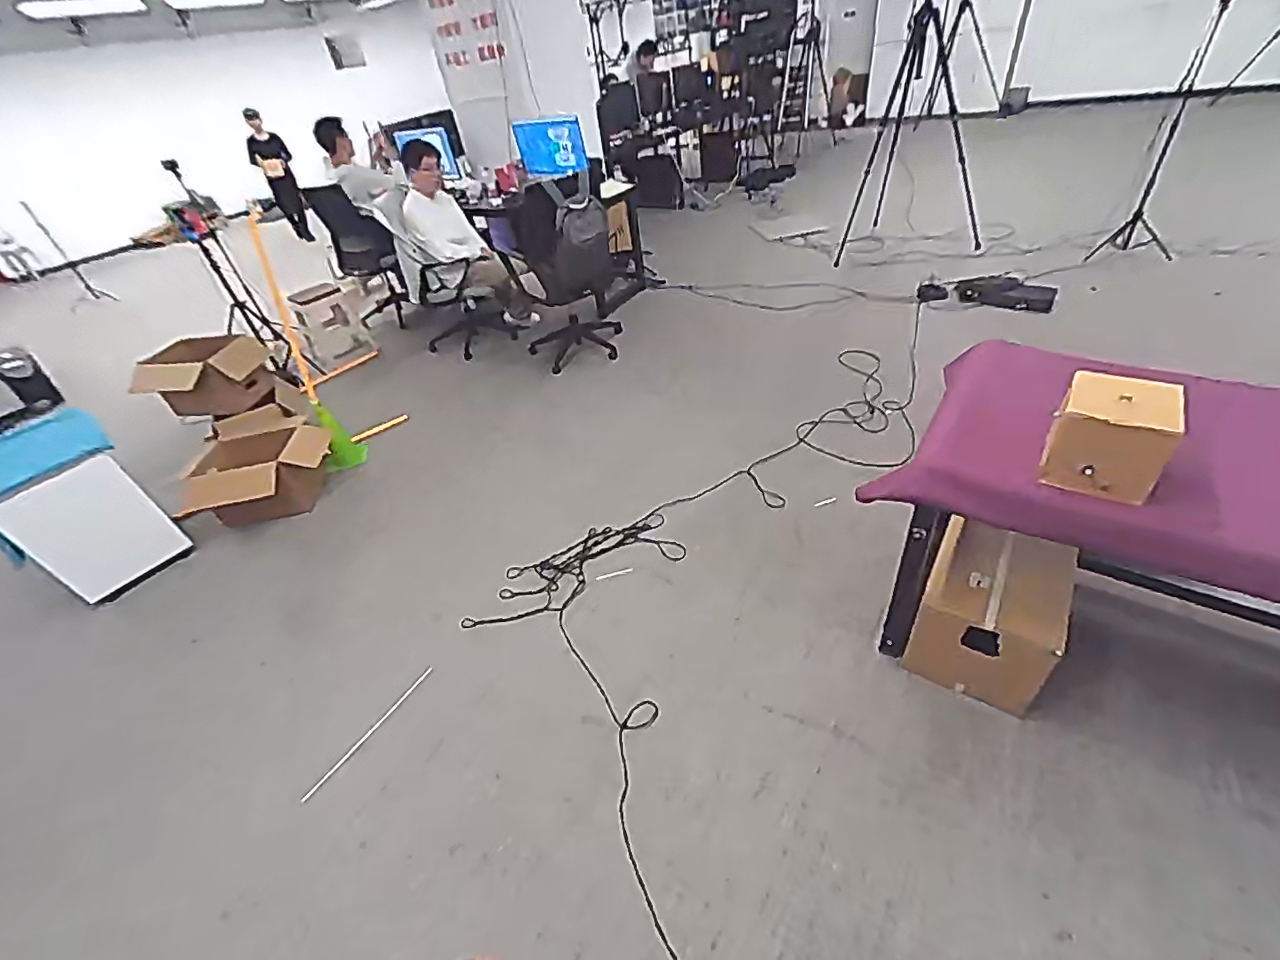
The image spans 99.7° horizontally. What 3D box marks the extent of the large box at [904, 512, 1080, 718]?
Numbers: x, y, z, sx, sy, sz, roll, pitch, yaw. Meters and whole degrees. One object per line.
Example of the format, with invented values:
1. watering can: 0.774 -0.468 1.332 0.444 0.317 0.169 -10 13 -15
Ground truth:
1. large box: 0.982 0.366 1.525 0.320 0.320 0.408 18 48 31

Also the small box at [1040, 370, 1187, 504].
1. small box: 0.900 -0.084 1.038 0.168 0.176 0.179 20 47 31
